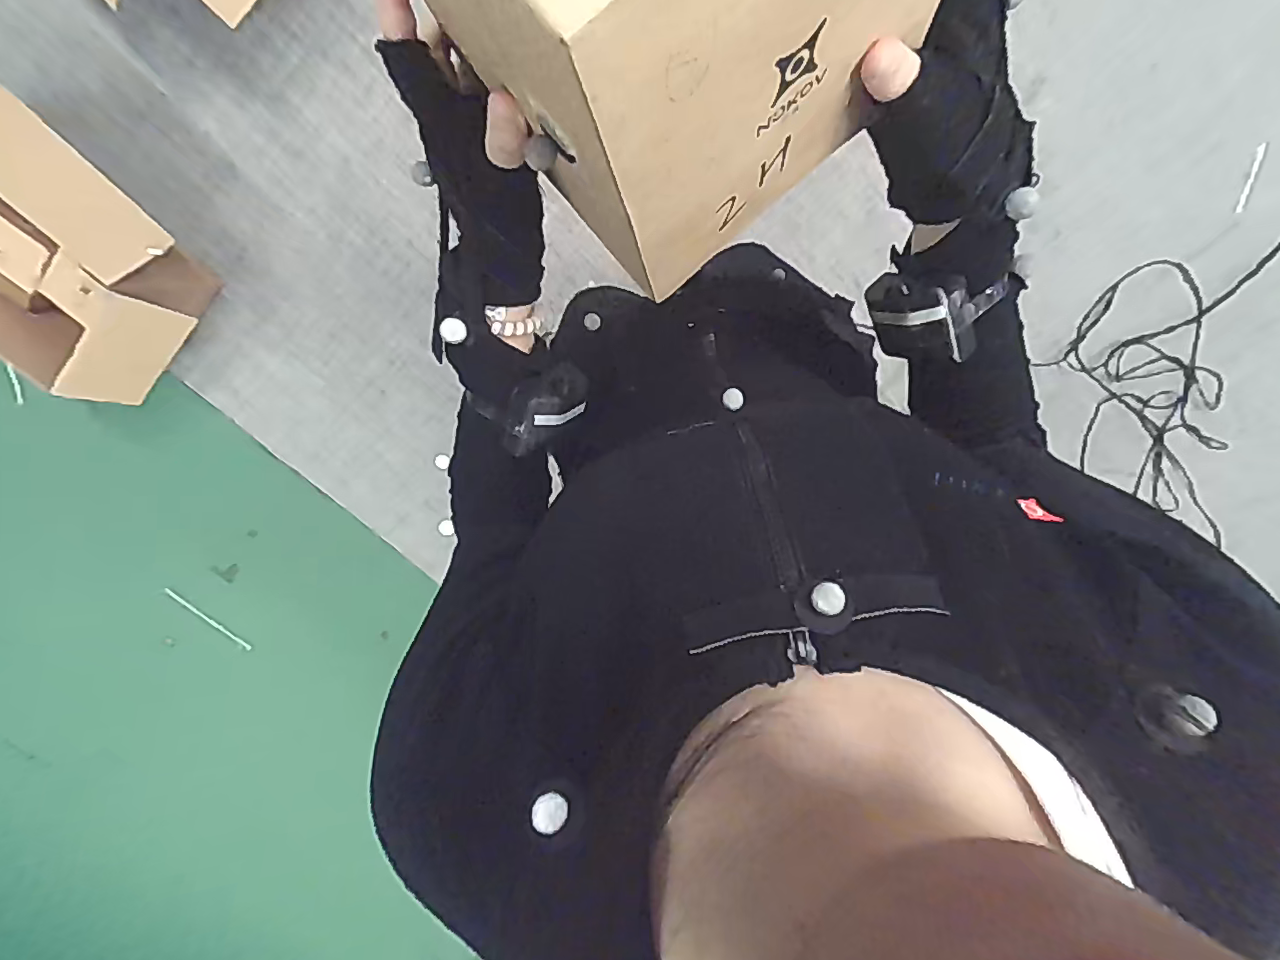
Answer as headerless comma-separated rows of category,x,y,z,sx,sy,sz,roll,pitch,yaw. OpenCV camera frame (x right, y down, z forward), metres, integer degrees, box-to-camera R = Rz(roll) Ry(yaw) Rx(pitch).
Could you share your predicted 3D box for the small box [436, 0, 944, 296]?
small box,0.011,-0.219,0.219,0.168,0.179,0.176,-39,81,5
